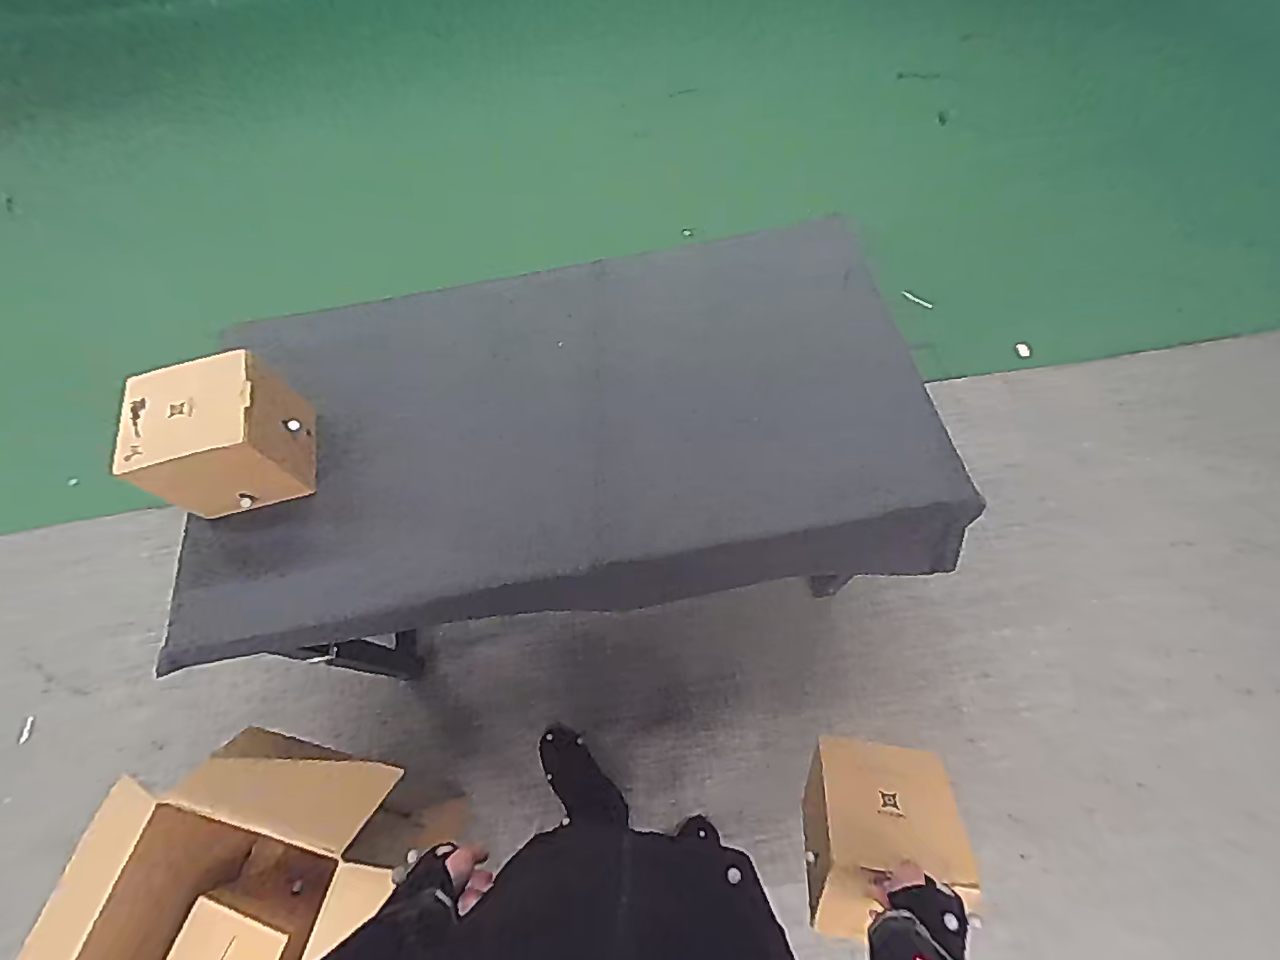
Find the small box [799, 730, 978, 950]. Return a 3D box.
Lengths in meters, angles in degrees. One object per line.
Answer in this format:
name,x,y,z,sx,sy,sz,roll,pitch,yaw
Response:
small box,0.314,0.477,0.725,0.168,0.176,0.179,7,28,9

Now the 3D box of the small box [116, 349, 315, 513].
small box,-0.625,-0.068,0.824,0.179,0.176,0.168,-15,65,-5
